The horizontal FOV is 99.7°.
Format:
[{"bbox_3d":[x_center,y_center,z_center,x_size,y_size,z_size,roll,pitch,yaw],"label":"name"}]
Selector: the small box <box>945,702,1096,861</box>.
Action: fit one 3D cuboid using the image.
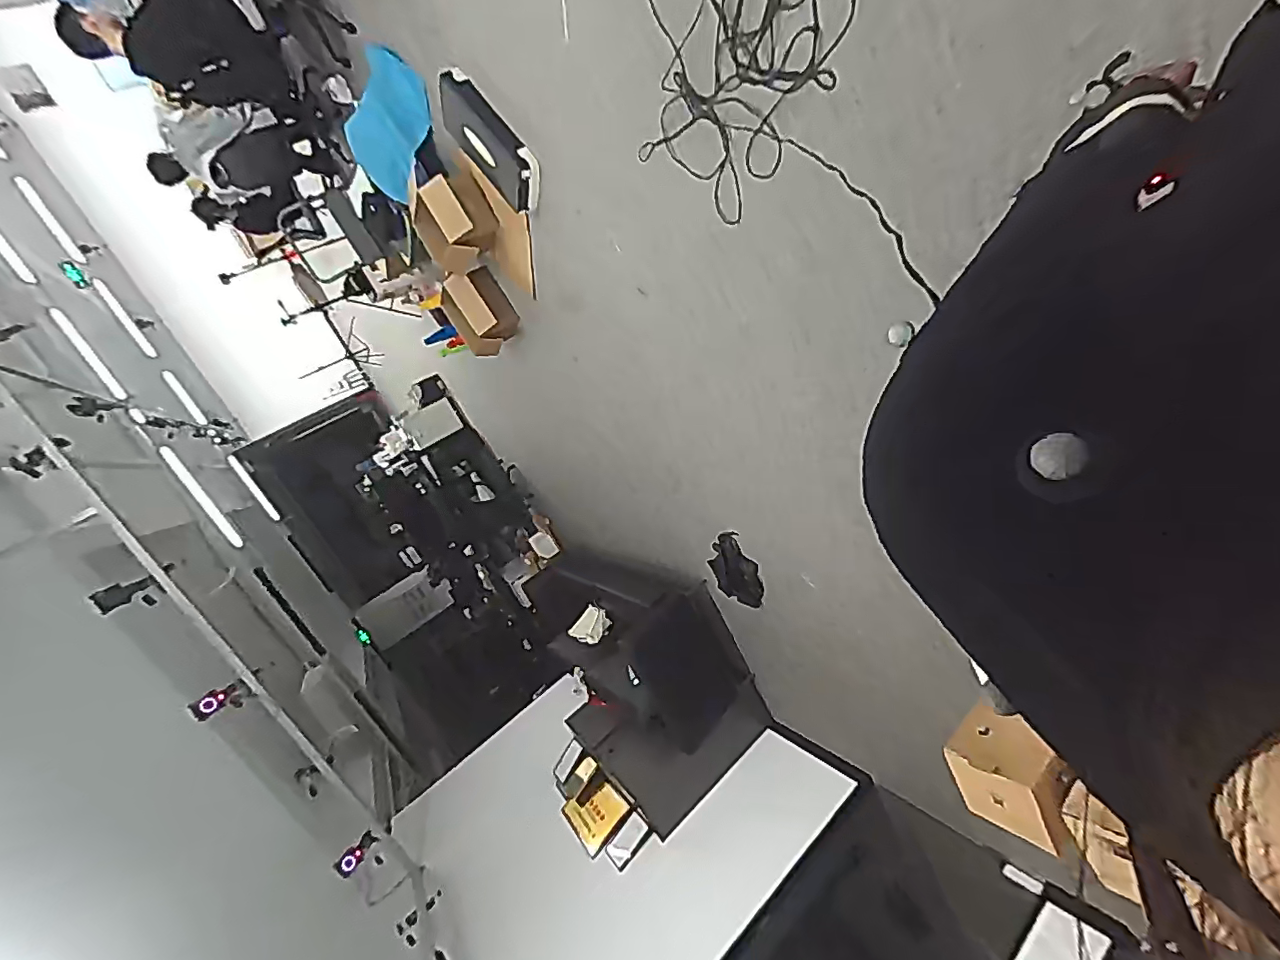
[{"bbox_3d":[0.743,0.574,1.057,0.179,0.176,0.168,61,157,-14],"label":"small box"}]
